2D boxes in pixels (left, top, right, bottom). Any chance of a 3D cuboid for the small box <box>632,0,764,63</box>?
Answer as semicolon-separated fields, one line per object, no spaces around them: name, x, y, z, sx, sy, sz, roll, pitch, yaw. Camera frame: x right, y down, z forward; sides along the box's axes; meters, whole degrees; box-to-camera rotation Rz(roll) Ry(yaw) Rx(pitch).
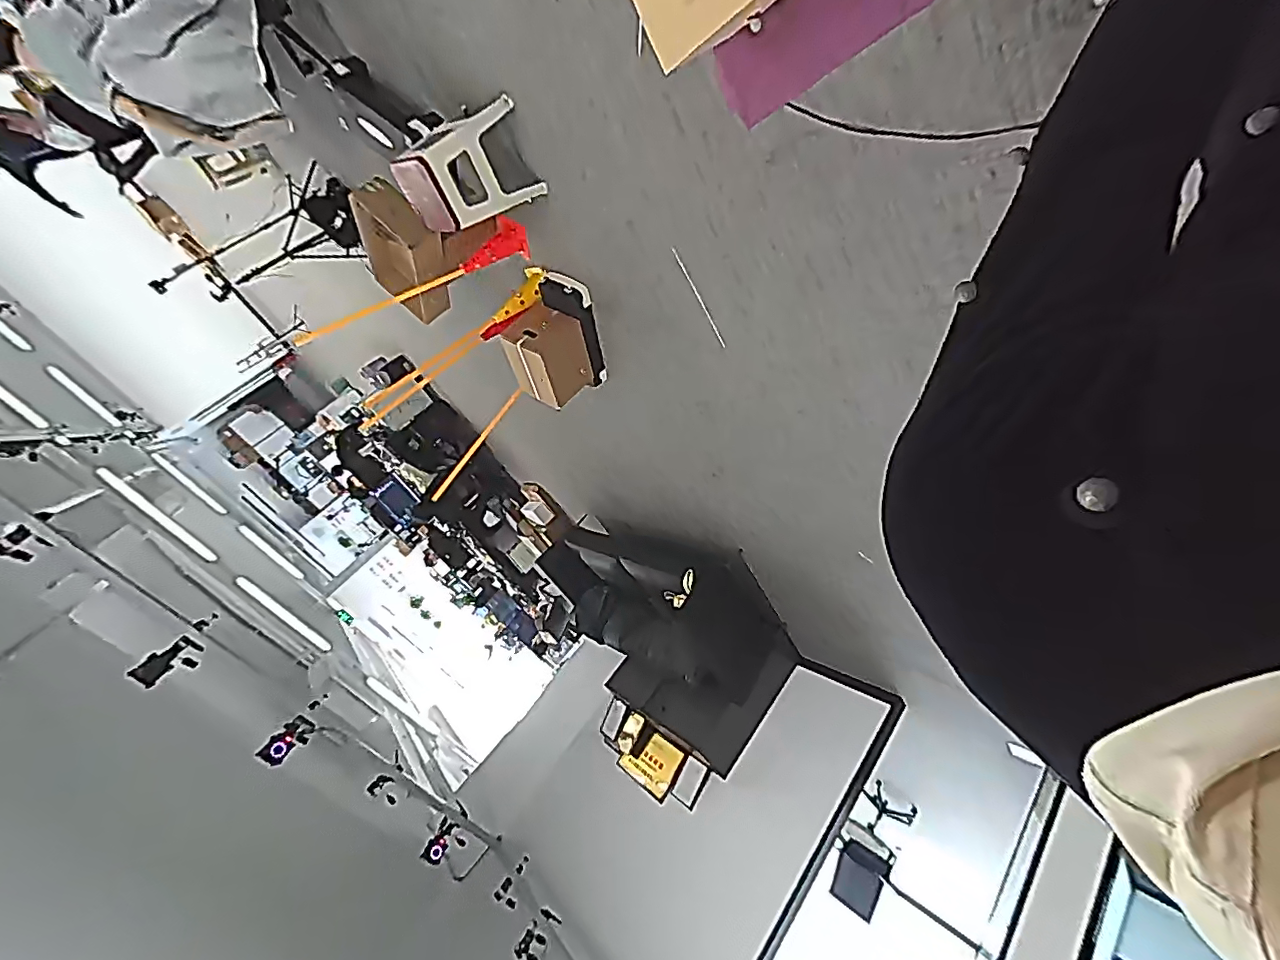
small box;0.086;-0.662;0.648;0.168;0.176;0.179;9;139;54
